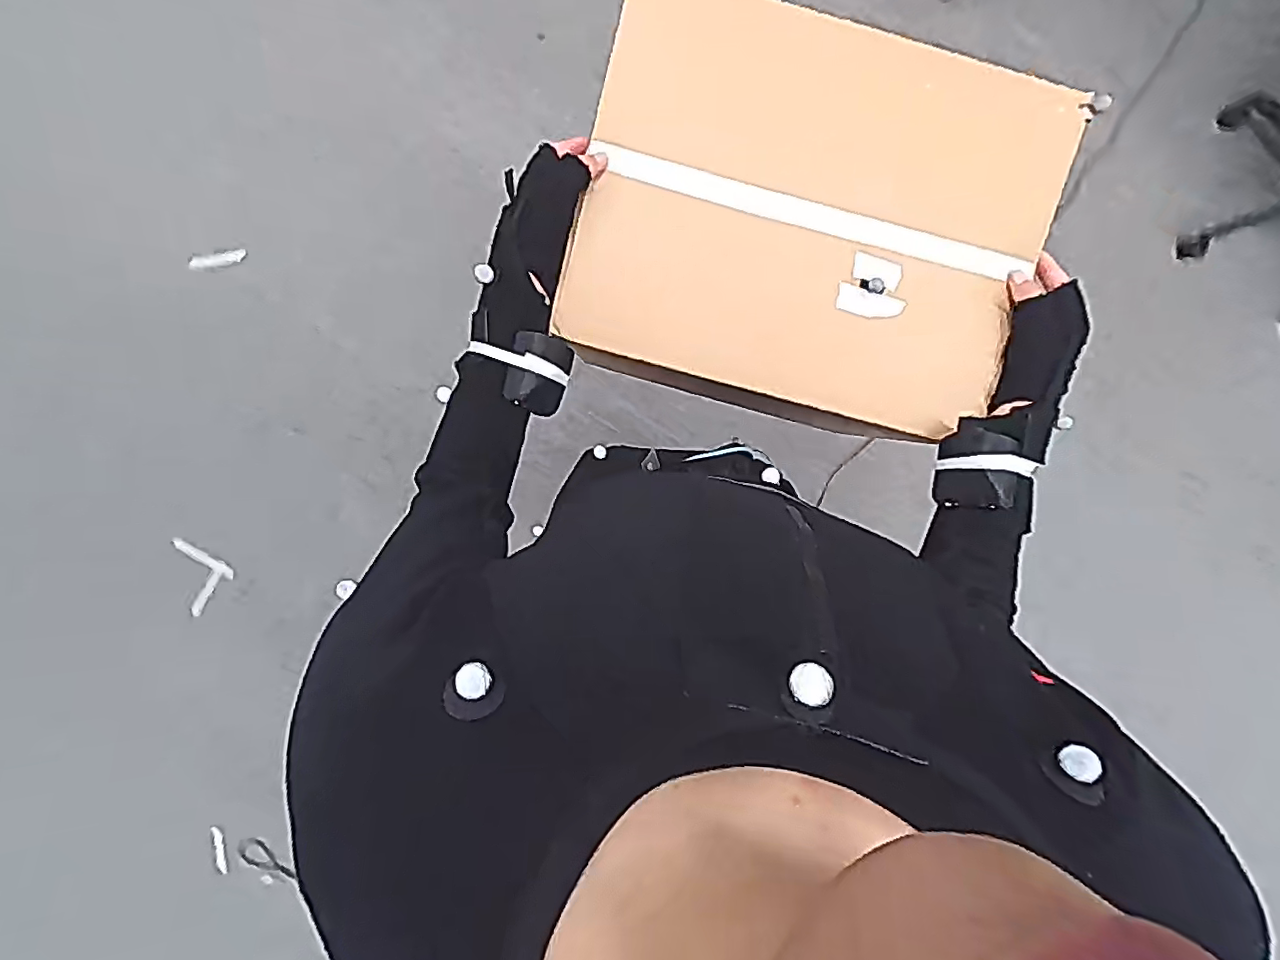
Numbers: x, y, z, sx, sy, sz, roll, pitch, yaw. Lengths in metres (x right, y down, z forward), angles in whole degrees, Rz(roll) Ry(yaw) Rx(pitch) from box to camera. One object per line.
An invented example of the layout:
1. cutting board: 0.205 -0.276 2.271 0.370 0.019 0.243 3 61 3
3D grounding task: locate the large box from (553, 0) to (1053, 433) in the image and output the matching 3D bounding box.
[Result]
1. large box: 0.138 -0.252 0.634 0.408 0.320 0.320 14 98 -4
